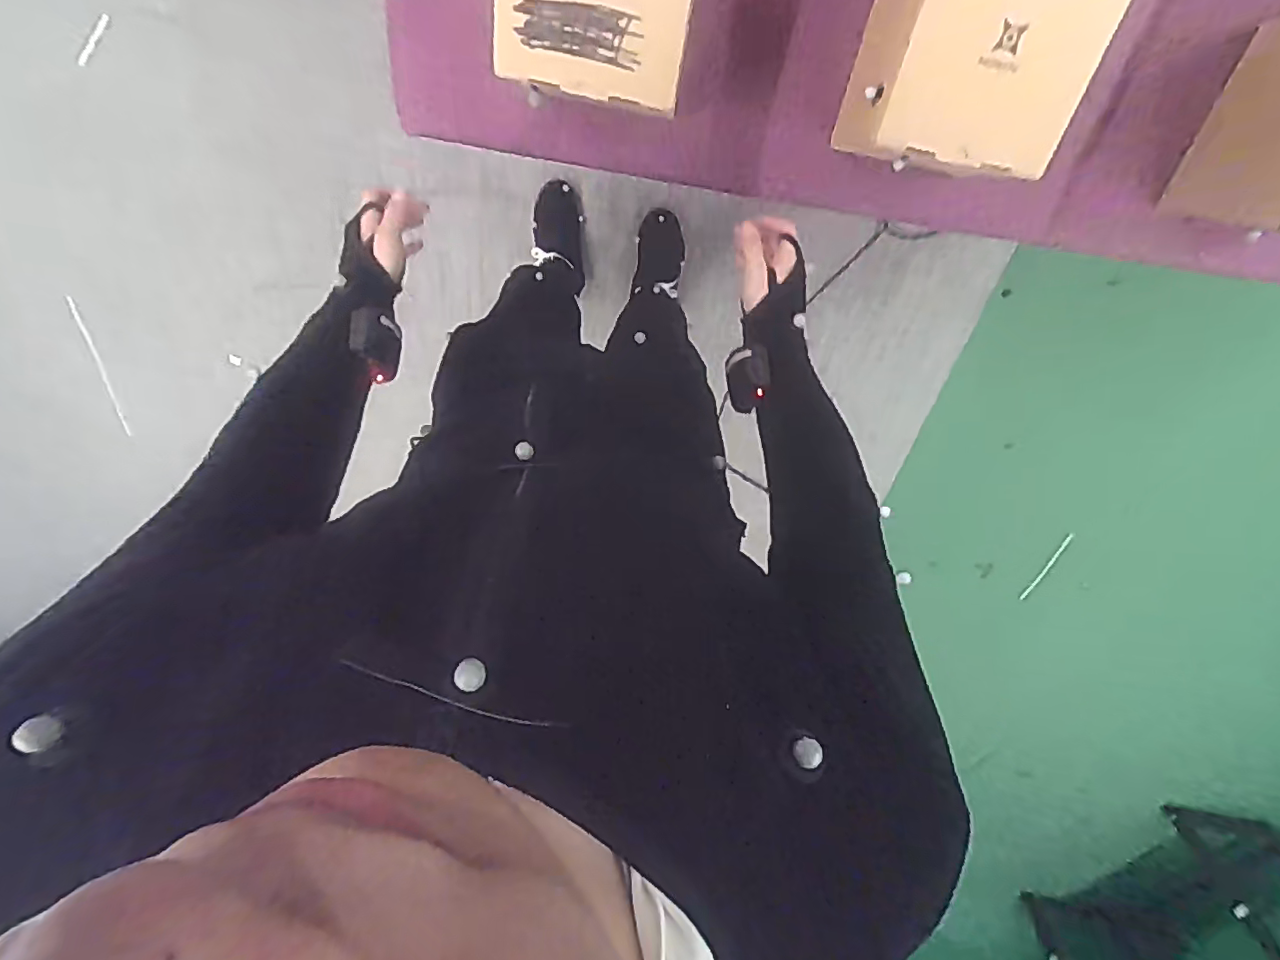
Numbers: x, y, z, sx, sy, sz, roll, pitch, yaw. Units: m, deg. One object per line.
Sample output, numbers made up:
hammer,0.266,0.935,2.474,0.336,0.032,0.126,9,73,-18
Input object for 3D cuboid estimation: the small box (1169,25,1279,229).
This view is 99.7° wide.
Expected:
small box,0.699,-0.341,0.530,0.168,0.176,0.179,9,123,0

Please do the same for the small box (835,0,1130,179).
small box,0.308,-0.406,0.519,0.168,0.176,0.179,10,122,-3
